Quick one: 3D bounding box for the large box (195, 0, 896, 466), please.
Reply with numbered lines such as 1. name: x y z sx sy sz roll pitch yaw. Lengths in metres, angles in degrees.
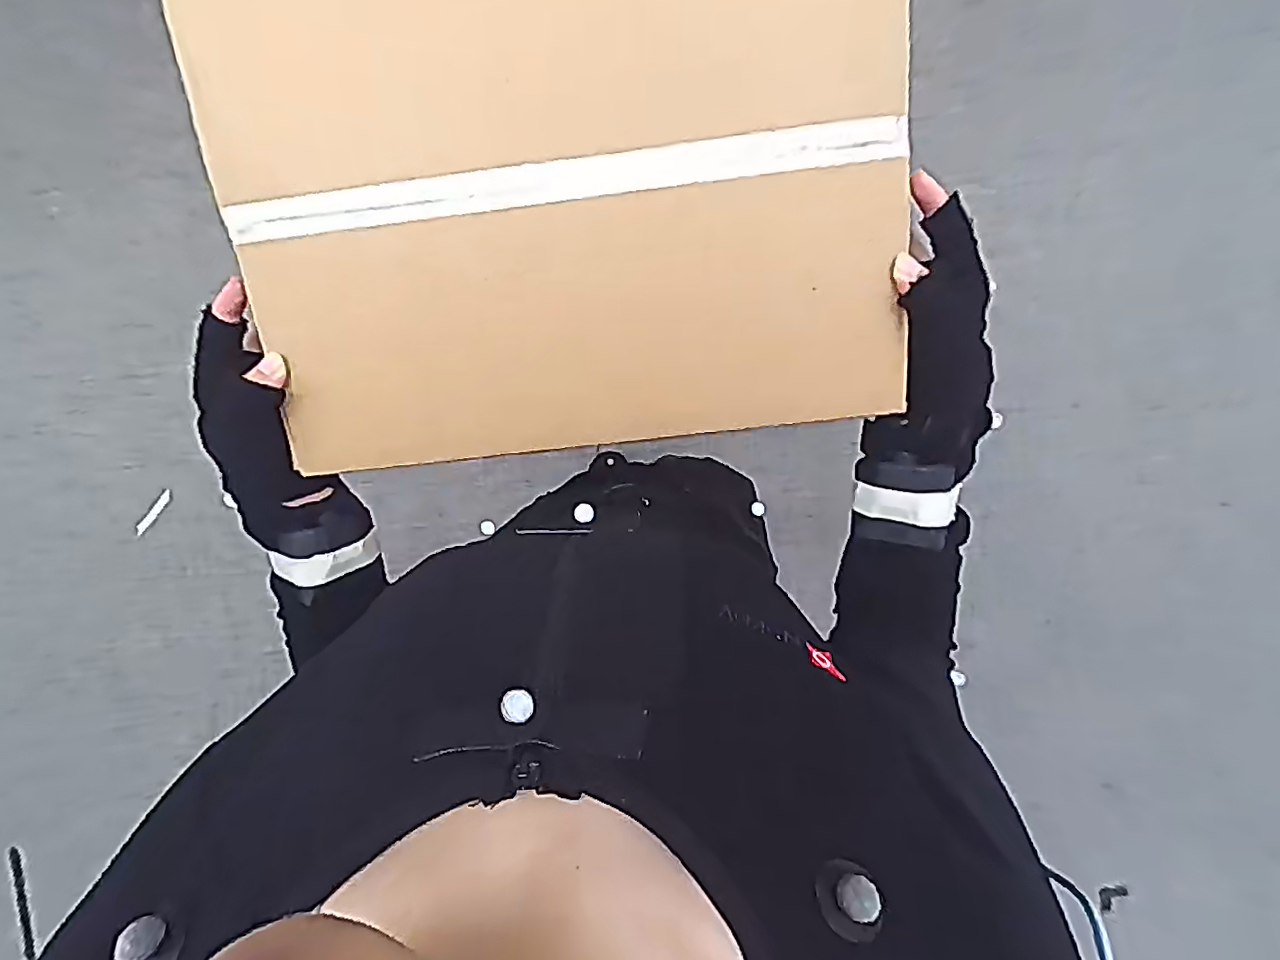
1. large box: -0.044 -0.215 0.476 0.408 0.320 0.320 -6 105 3
